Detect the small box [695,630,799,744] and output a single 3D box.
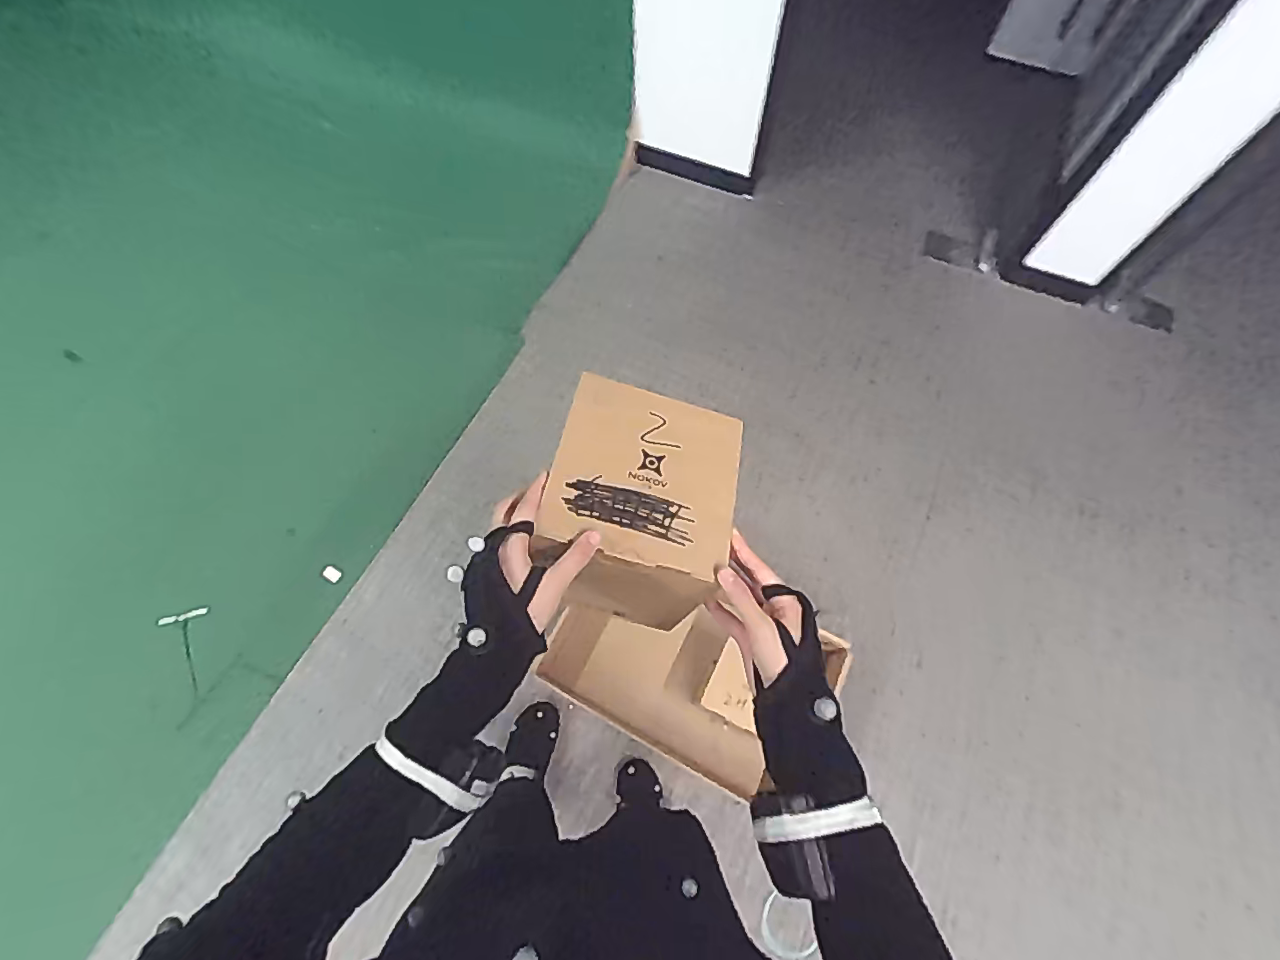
[{"bbox_3d":[0.232,0.467,1.218,0.168,0.176,0.179,26,69,12],"label":"small box"}]
